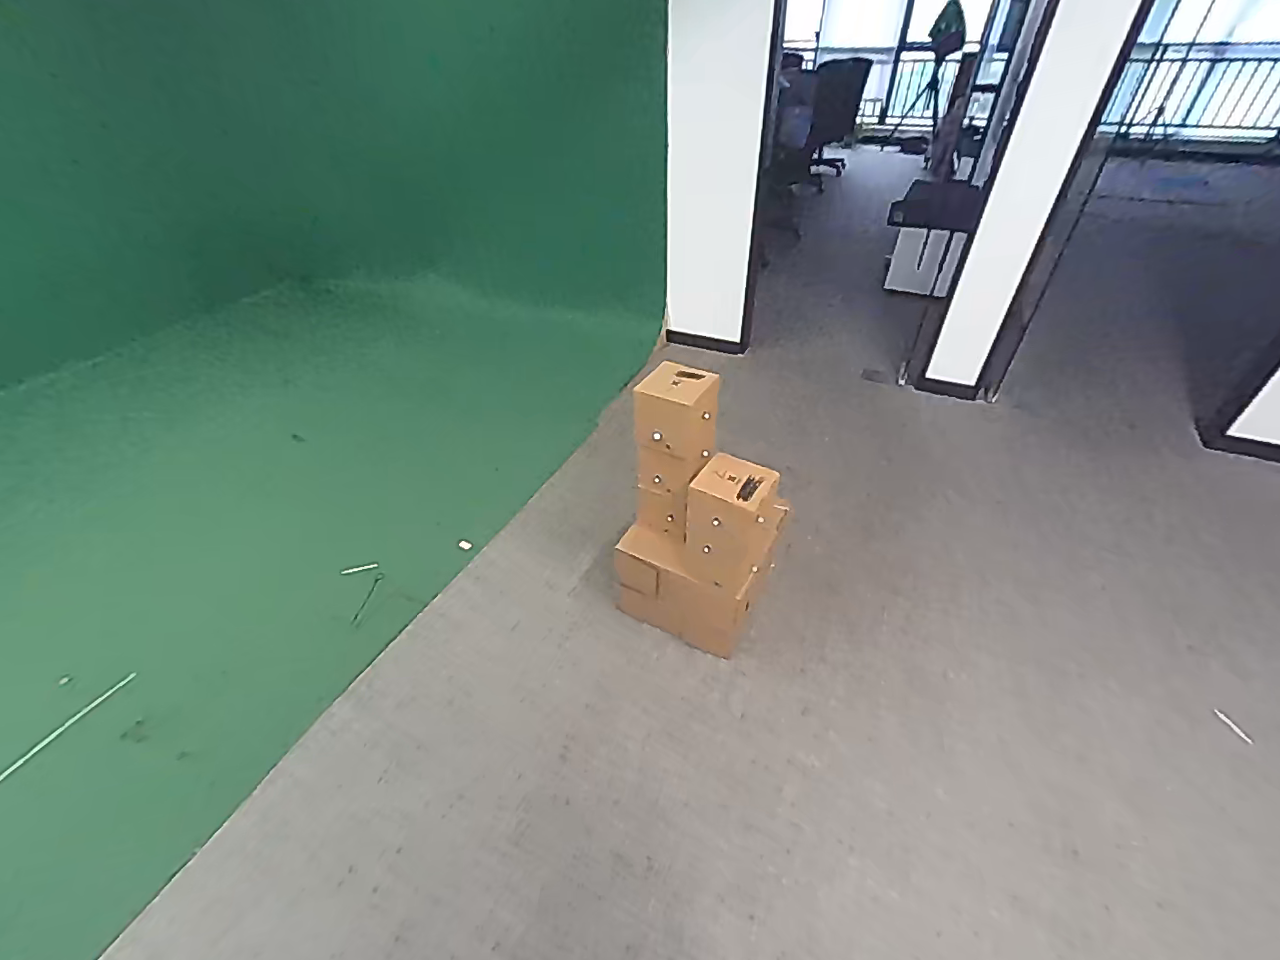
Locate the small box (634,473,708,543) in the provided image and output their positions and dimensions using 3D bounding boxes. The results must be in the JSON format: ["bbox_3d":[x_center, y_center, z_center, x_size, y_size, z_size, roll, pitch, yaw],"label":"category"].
[{"bbox_3d":[0.096,0.063,1.659,0.168,0.176,0.179,19,42,23],"label":"small box"}]

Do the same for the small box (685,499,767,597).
[{"bbox_3d":[0.232,0.188,1.499,0.168,0.176,0.179,21,43,24],"label":"small box"}]

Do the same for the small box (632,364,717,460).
[{"bbox_3d":[0.091,-0.183,1.444,0.168,0.176,0.179,19,44,23],"label":"small box"}]

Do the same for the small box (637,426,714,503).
[{"bbox_3d":[0.099,-0.064,1.556,0.168,0.176,0.179,20,45,23],"label":"small box"}]
